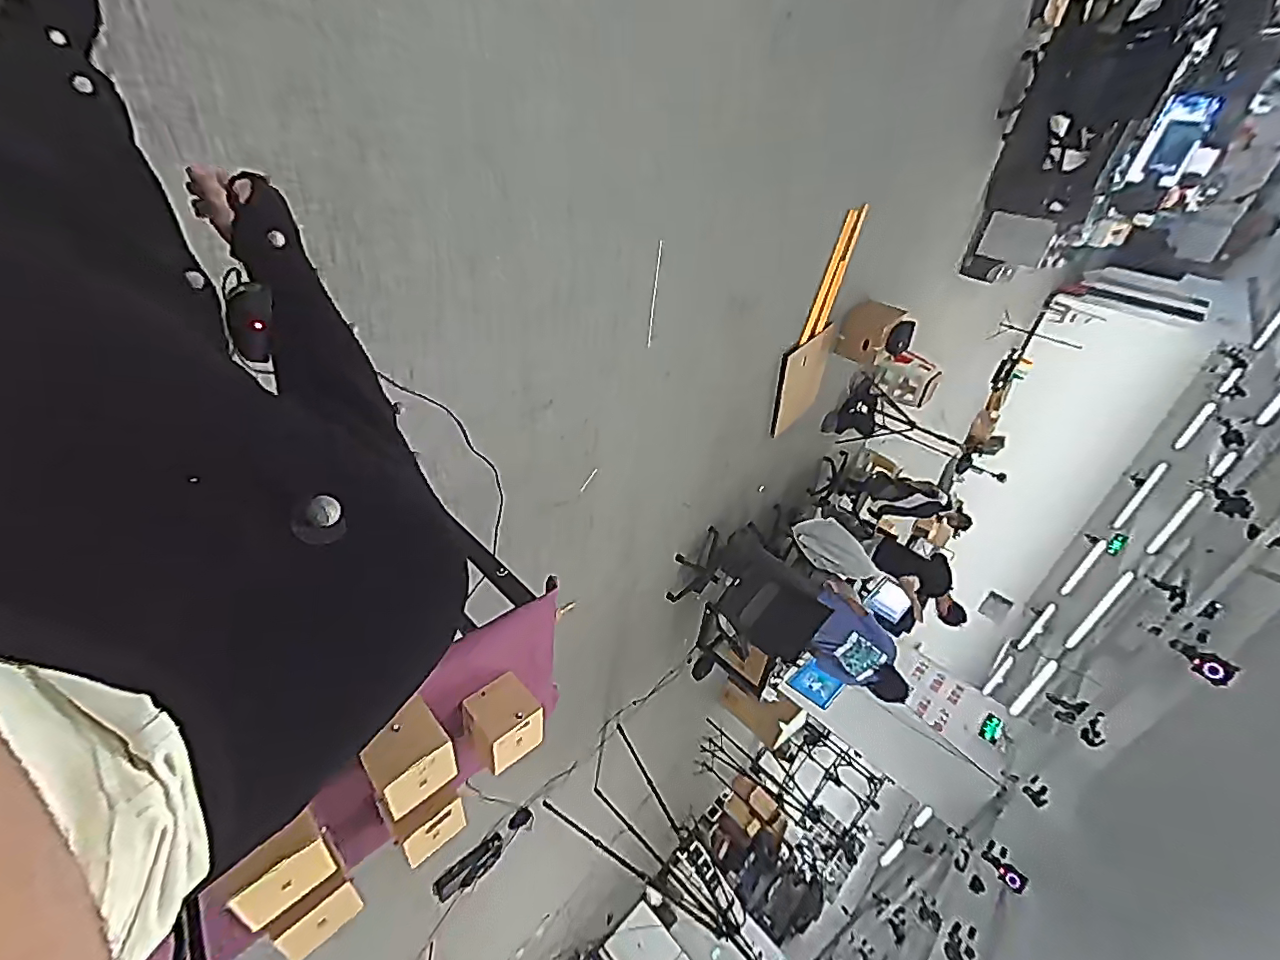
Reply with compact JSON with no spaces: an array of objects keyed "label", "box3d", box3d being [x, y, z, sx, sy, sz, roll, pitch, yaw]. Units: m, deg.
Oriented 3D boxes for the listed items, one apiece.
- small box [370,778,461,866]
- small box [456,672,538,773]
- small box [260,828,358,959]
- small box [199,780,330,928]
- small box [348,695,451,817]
[{"label":"small box","box3d":[-0.620,0.900,1.492,0.168,0.176,0.179,-27,138,-39]},{"label":"small box","box3d":[-0.419,0.702,1.582,0.168,0.176,0.179,-27,138,-41]},{"label":"small box","box3d":[-0.818,0.997,1.311,0.168,0.176,0.179,-29,137,-39]},{"label":"small box","box3d":[-0.796,0.787,1.153,0.168,0.176,0.179,-27,138,-39]},{"label":"small box","box3d":[-0.587,0.670,1.328,0.168,0.176,0.179,-28,139,-39]}]
